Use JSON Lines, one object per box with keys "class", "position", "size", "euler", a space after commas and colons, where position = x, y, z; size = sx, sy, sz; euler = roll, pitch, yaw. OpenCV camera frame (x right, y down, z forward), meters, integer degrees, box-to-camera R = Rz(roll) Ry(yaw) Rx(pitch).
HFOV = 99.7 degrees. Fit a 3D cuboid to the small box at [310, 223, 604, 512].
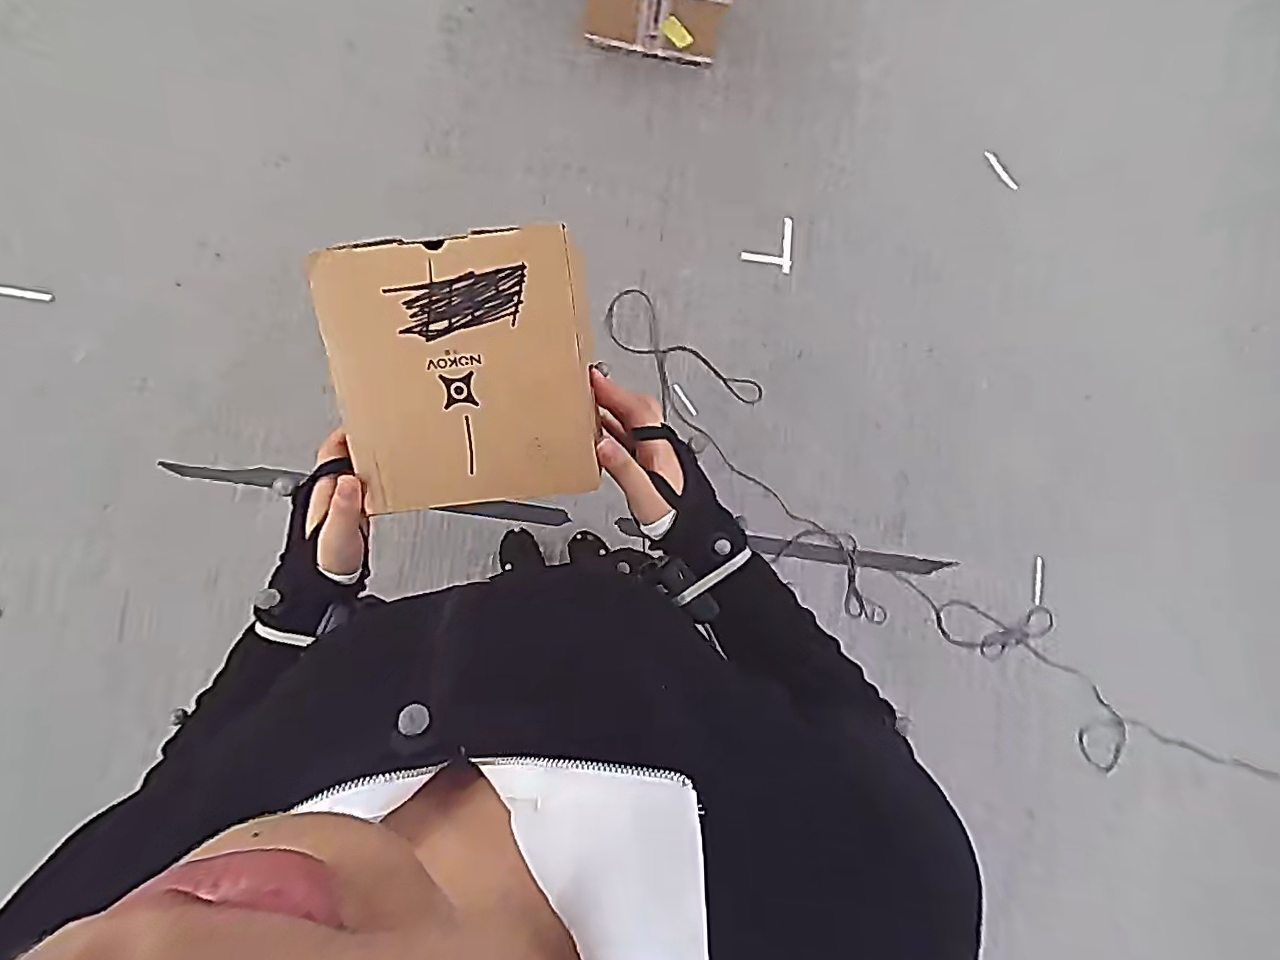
{"class": "small box", "position": [-0.119, -0.086, 0.431], "size": [0.168, 0.176, 0.179], "euler": [-6, 104, 0]}
